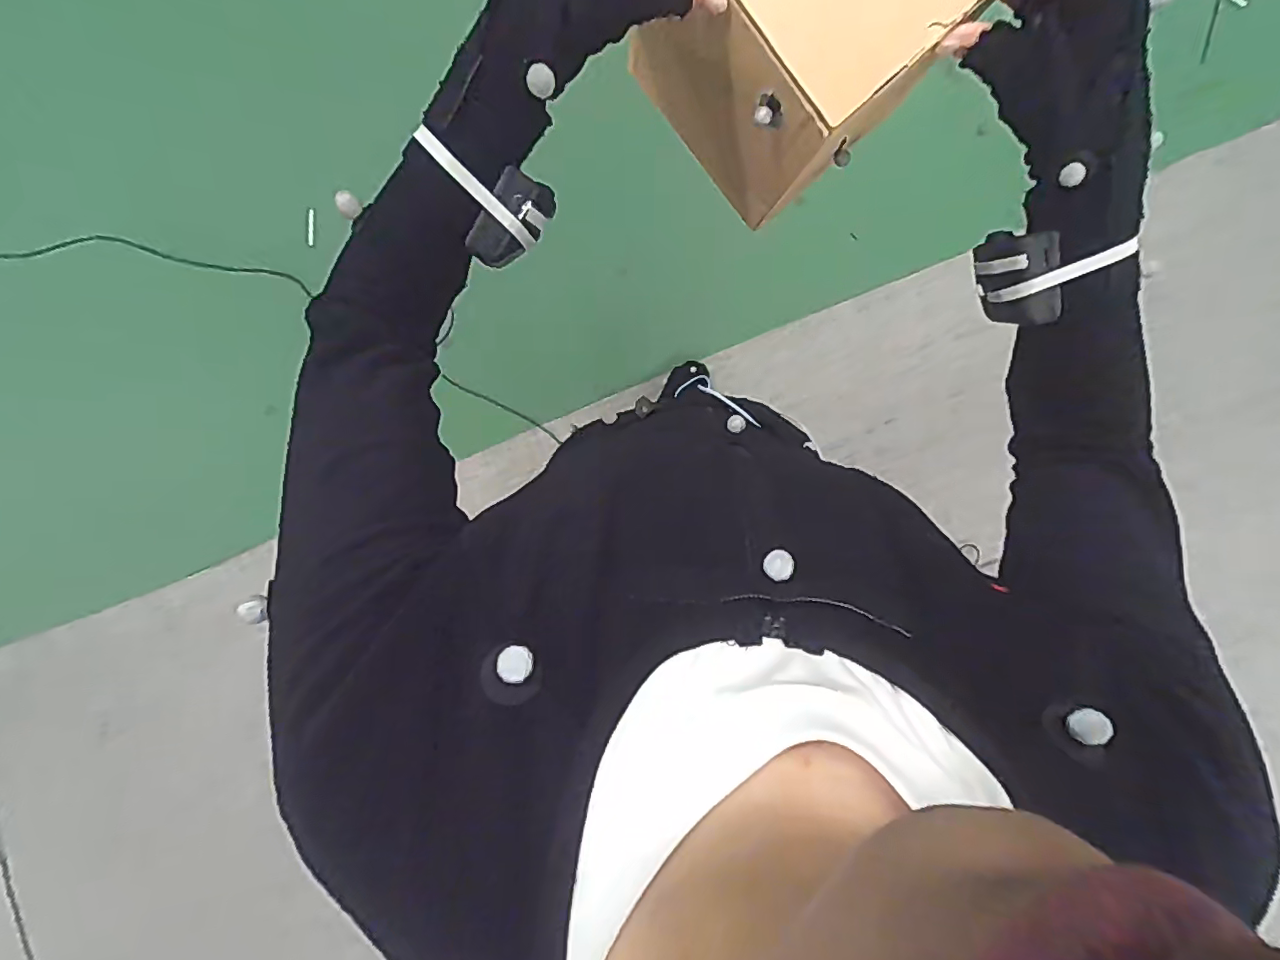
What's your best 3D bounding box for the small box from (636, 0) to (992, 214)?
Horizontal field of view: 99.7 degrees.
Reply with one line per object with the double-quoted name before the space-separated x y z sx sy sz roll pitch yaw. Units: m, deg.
"small box" 0.113 -0.336 0.393 0.168 0.176 0.179 -41 99 1
